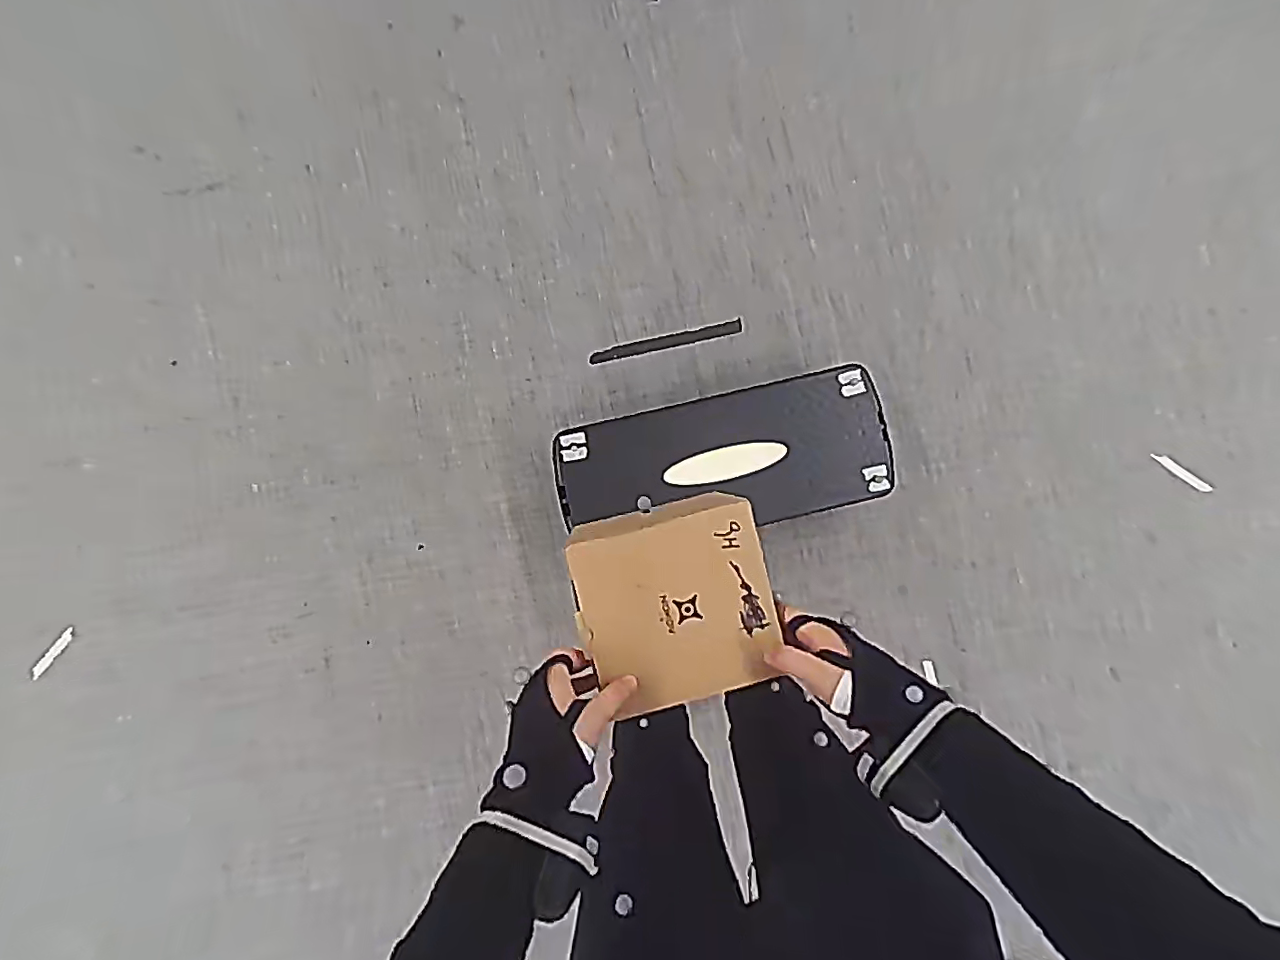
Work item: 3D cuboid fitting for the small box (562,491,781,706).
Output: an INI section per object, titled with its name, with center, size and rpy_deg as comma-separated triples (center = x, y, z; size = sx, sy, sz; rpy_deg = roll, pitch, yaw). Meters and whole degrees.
[small box]
center = 0.028, 0.110, 0.577
size = 0.179, 0.176, 0.168
rpy_deg = -14, 92, -2
